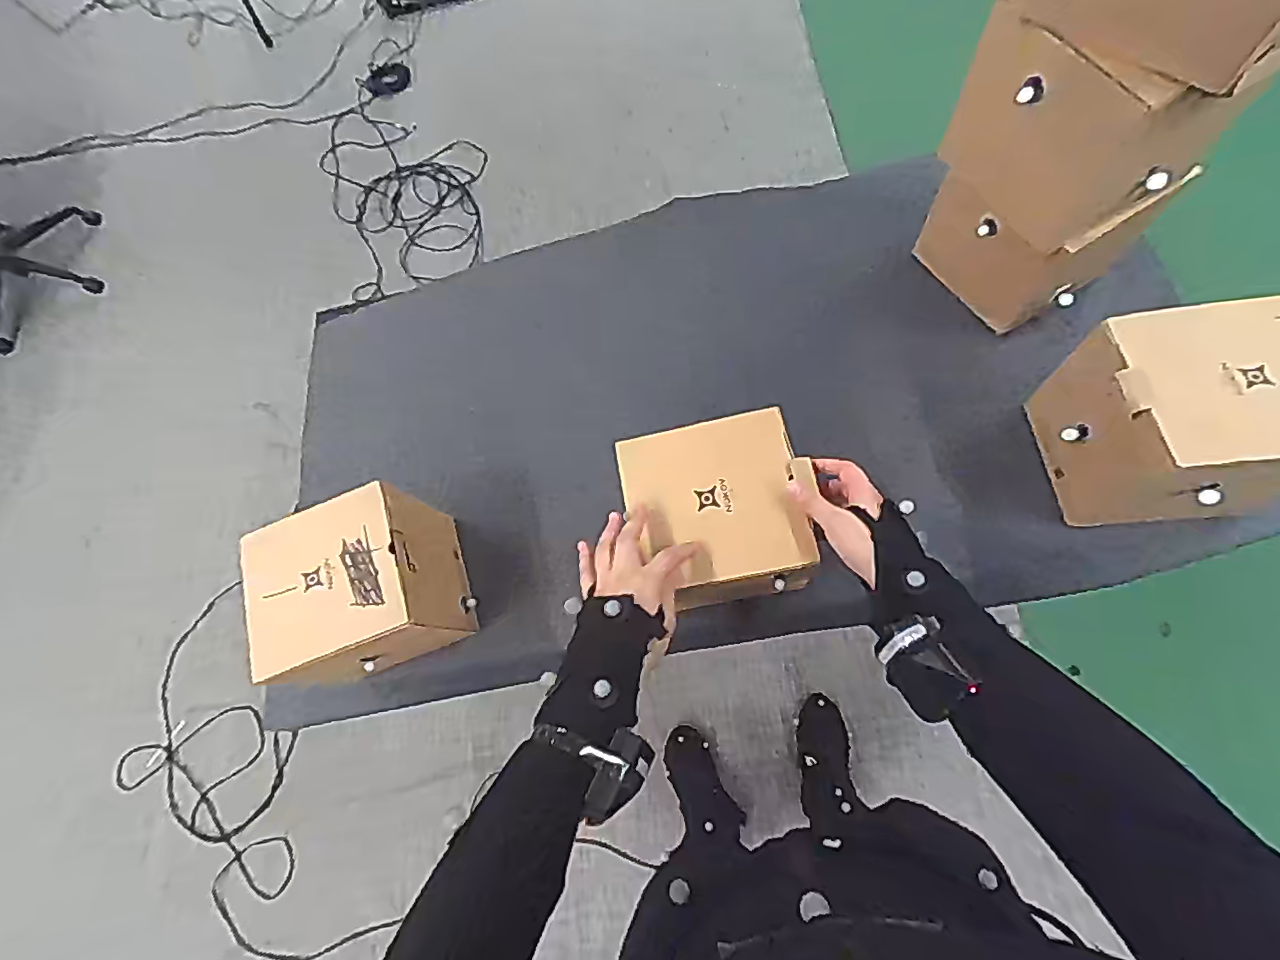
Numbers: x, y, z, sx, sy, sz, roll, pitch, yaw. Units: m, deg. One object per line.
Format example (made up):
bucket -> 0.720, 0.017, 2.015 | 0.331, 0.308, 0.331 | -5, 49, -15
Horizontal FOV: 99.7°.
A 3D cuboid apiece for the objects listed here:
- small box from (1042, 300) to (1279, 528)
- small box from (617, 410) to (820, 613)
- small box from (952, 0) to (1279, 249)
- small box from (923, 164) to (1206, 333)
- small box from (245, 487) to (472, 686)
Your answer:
small box -> 0.553, -0.056, 0.553 | 0.179, 0.176, 0.168 | -6, 67, 9
small box -> 0.086, 0.047, 0.606 | 0.179, 0.176, 0.168 | -12, 69, 6
small box -> 0.435, -0.361, 0.506 | 0.168, 0.176, 0.179 | -29, 69, 3
small box -> 0.486, -0.317, 0.658 | 0.168, 0.176, 0.179 | -33, 71, 1
small box -> -0.319, 0.131, 0.645 | 0.179, 0.176, 0.168 | -22, 70, 2
